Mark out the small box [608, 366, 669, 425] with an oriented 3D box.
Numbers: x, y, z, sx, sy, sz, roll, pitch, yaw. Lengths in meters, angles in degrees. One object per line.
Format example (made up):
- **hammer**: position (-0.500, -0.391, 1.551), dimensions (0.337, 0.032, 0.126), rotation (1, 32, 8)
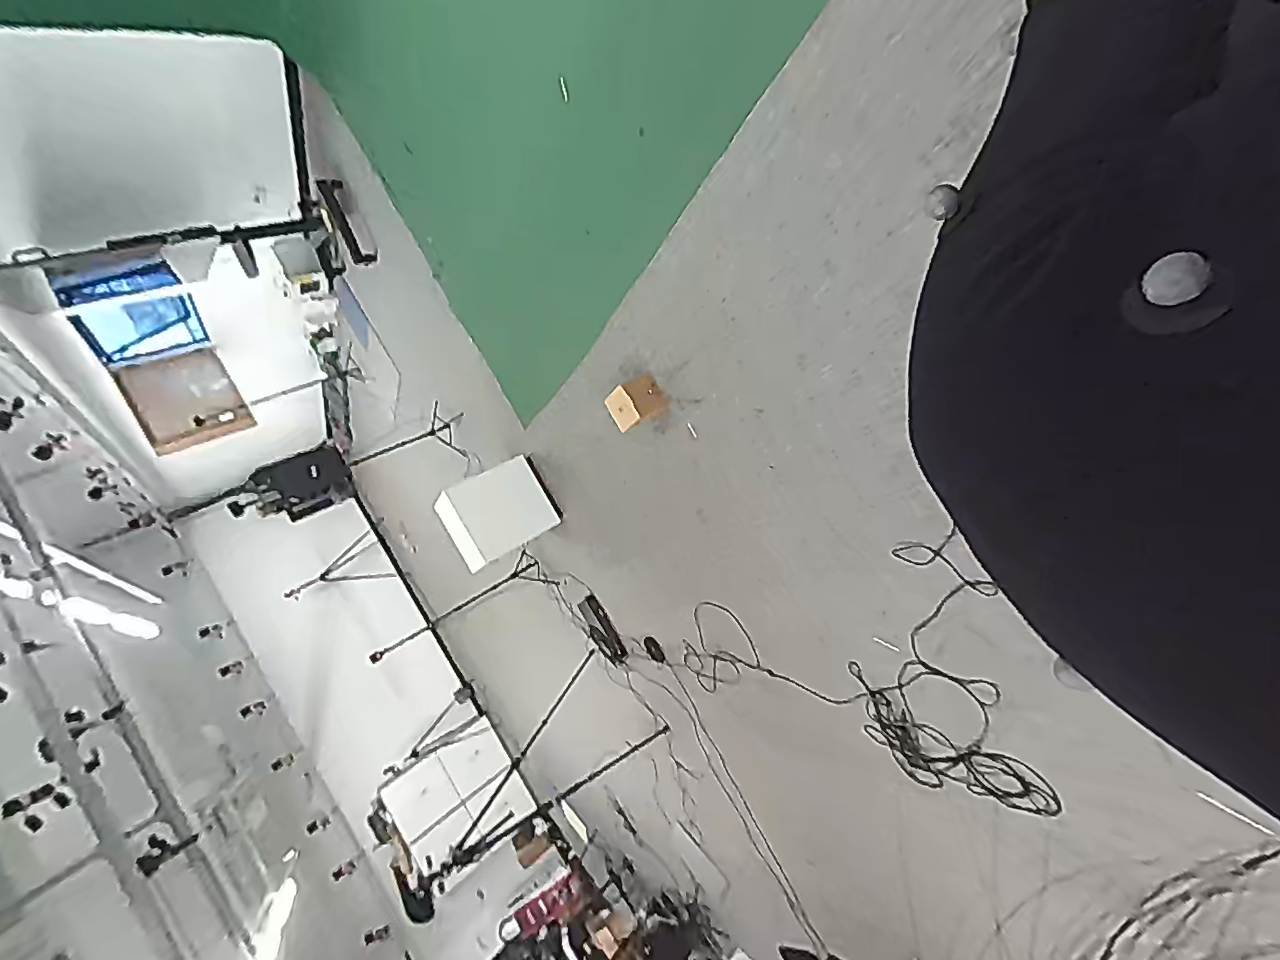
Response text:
- **small box**: position (-0.004, -0.365, 2.338), dimensions (0.168, 0.176, 0.179), rotation (59, 146, 2)
